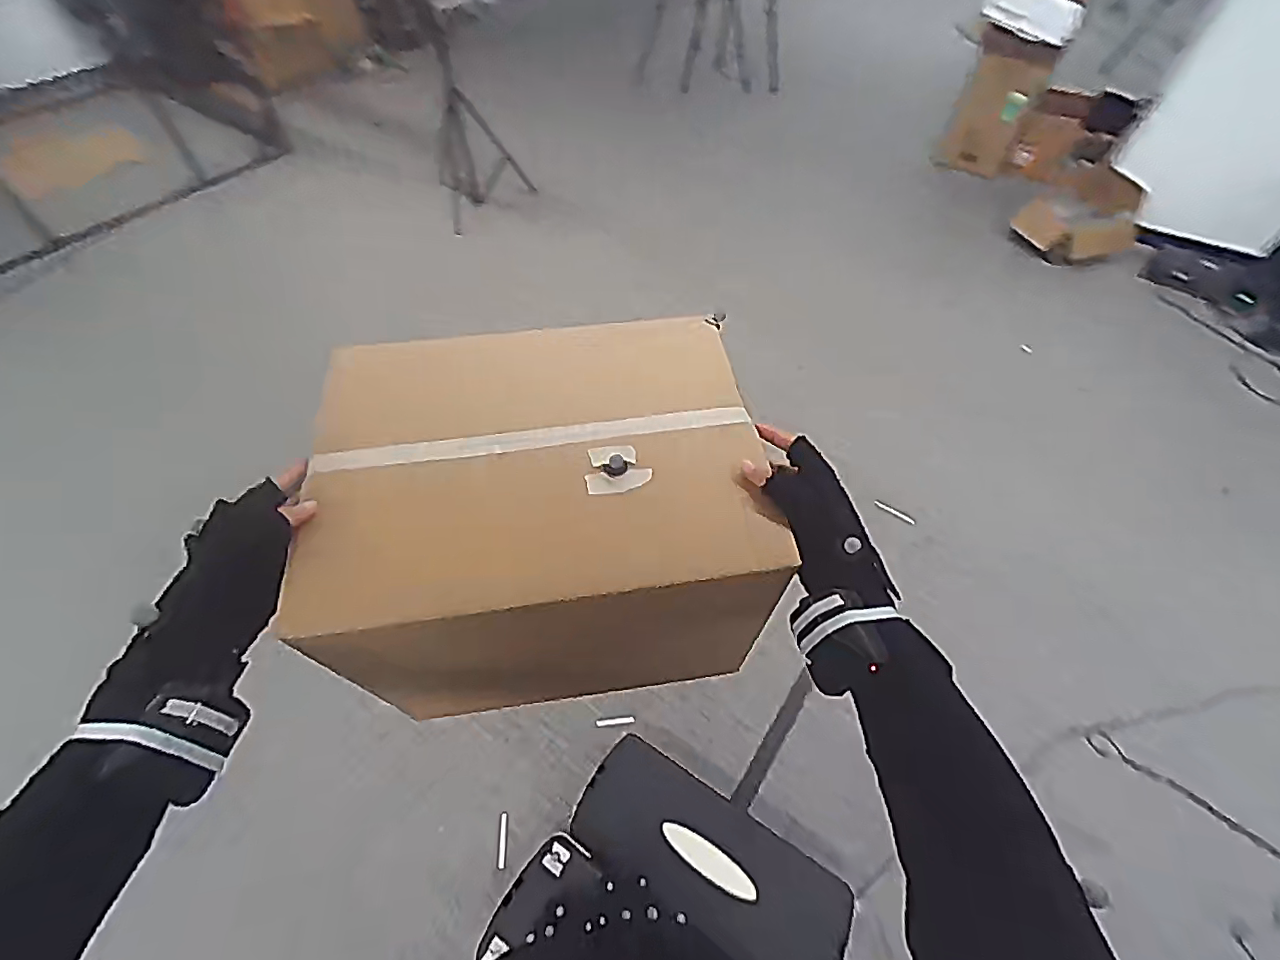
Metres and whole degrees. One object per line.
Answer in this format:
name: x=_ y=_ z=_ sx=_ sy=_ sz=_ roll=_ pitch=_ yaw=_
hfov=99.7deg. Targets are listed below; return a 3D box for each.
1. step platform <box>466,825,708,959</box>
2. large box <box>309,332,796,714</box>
step platform: x=-0.037 y=1.076 z=1.149 sx=0.684 sy=0.204 sz=0.286 roll=28 pitch=58 yaw=20
large box: x=-0.088 y=0.057 z=0.641 sx=0.408 sy=0.320 sz=0.320 roll=-5 pitch=56 yaw=-6
